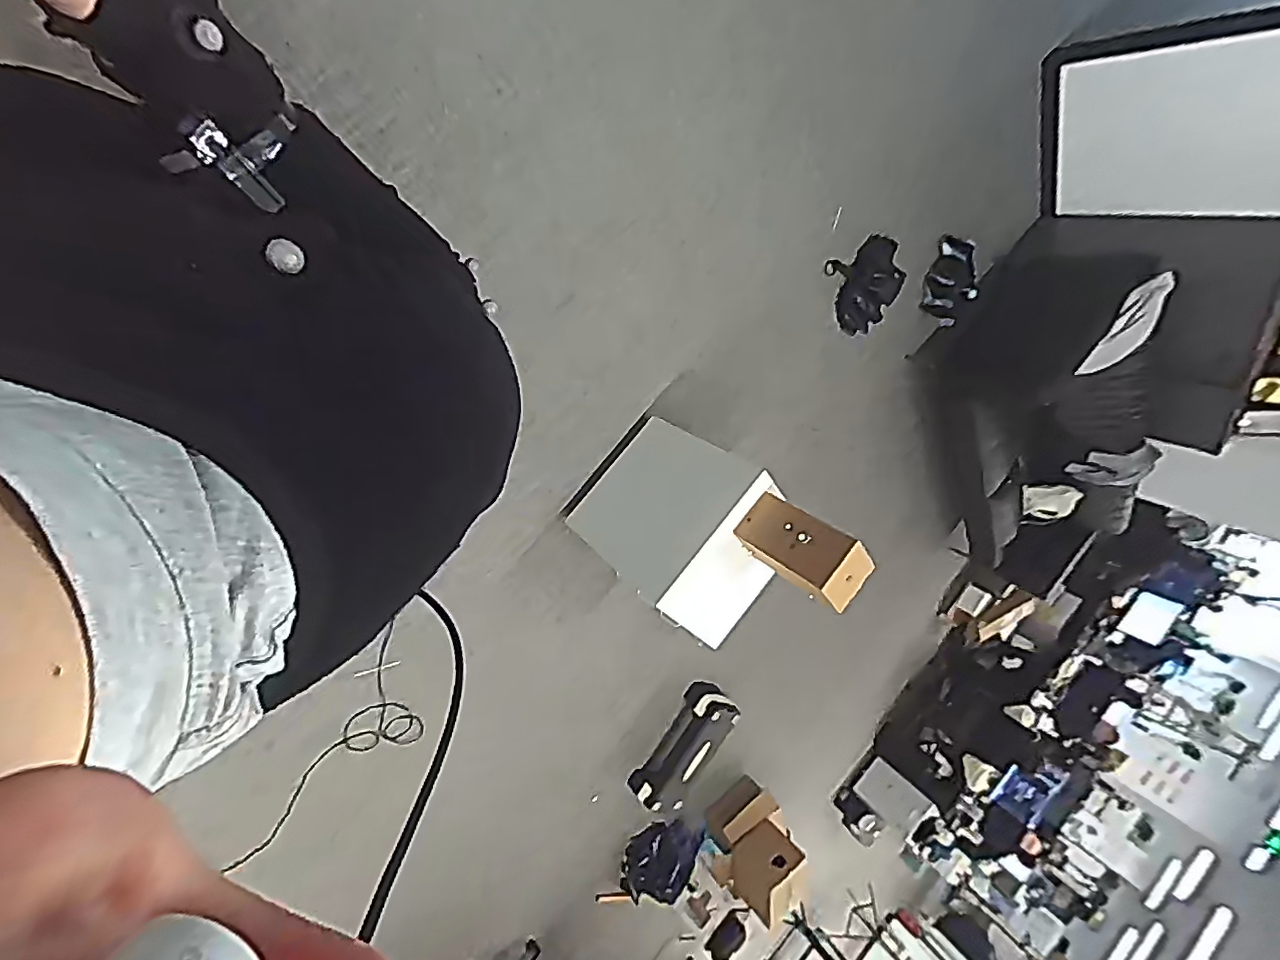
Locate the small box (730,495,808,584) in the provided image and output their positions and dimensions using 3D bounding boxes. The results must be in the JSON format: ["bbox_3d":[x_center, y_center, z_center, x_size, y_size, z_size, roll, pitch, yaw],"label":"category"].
[{"bbox_3d":[0.399,0.172,1.602,0.168,0.176,0.179,-50,134,-5],"label":"small box"}]

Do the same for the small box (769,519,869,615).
[{"bbox_3d":[0.487,0.233,1.479,0.168,0.176,0.179,-52,133,-5],"label":"small box"}]
